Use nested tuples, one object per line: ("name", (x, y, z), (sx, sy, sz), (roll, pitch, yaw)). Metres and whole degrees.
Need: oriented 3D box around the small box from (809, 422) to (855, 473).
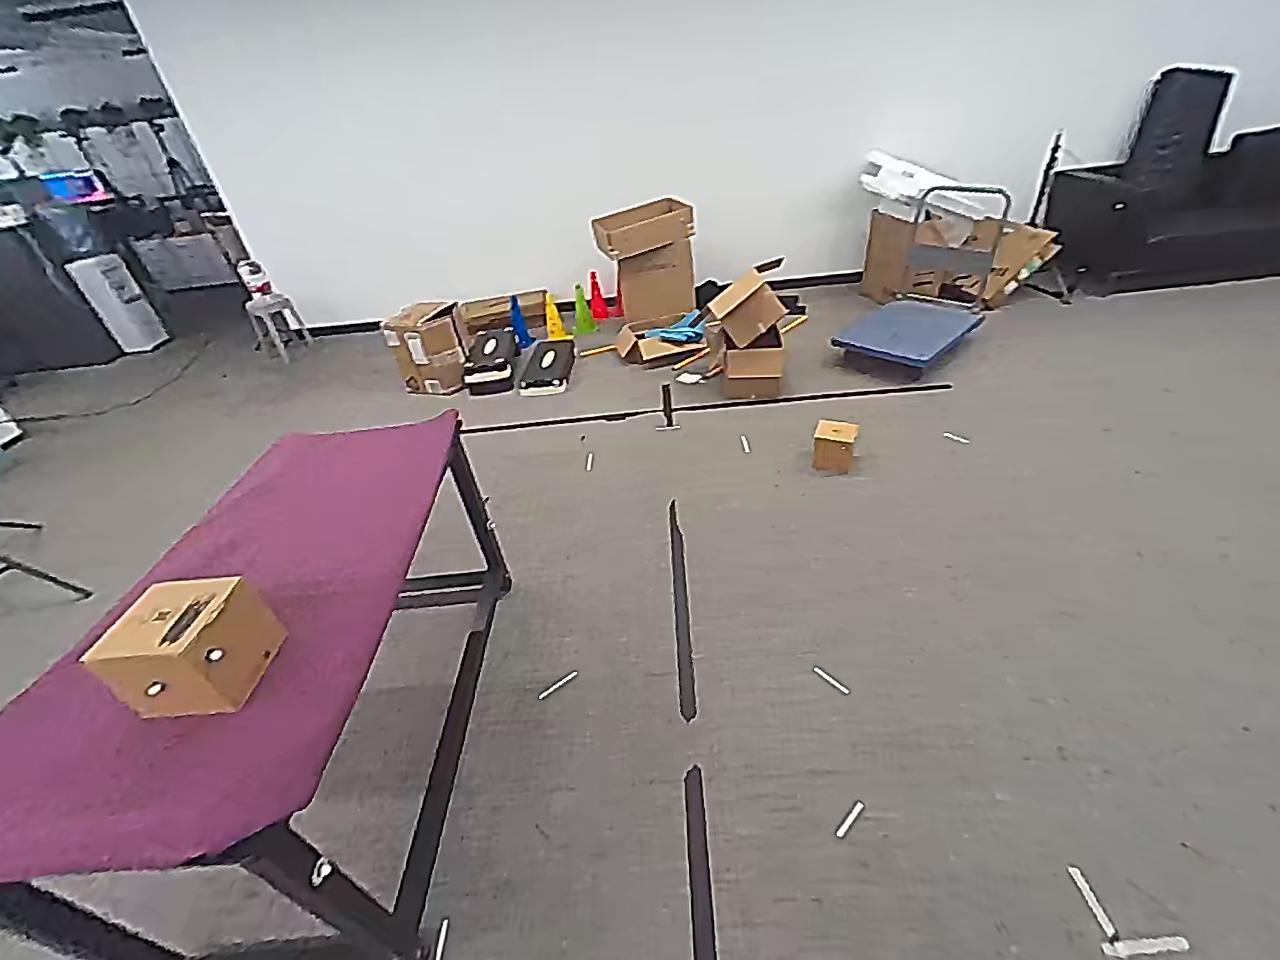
("small box", (0.904, -0.151, 2.546), (0.179, 0.176, 0.168), (11, 39, 22))
